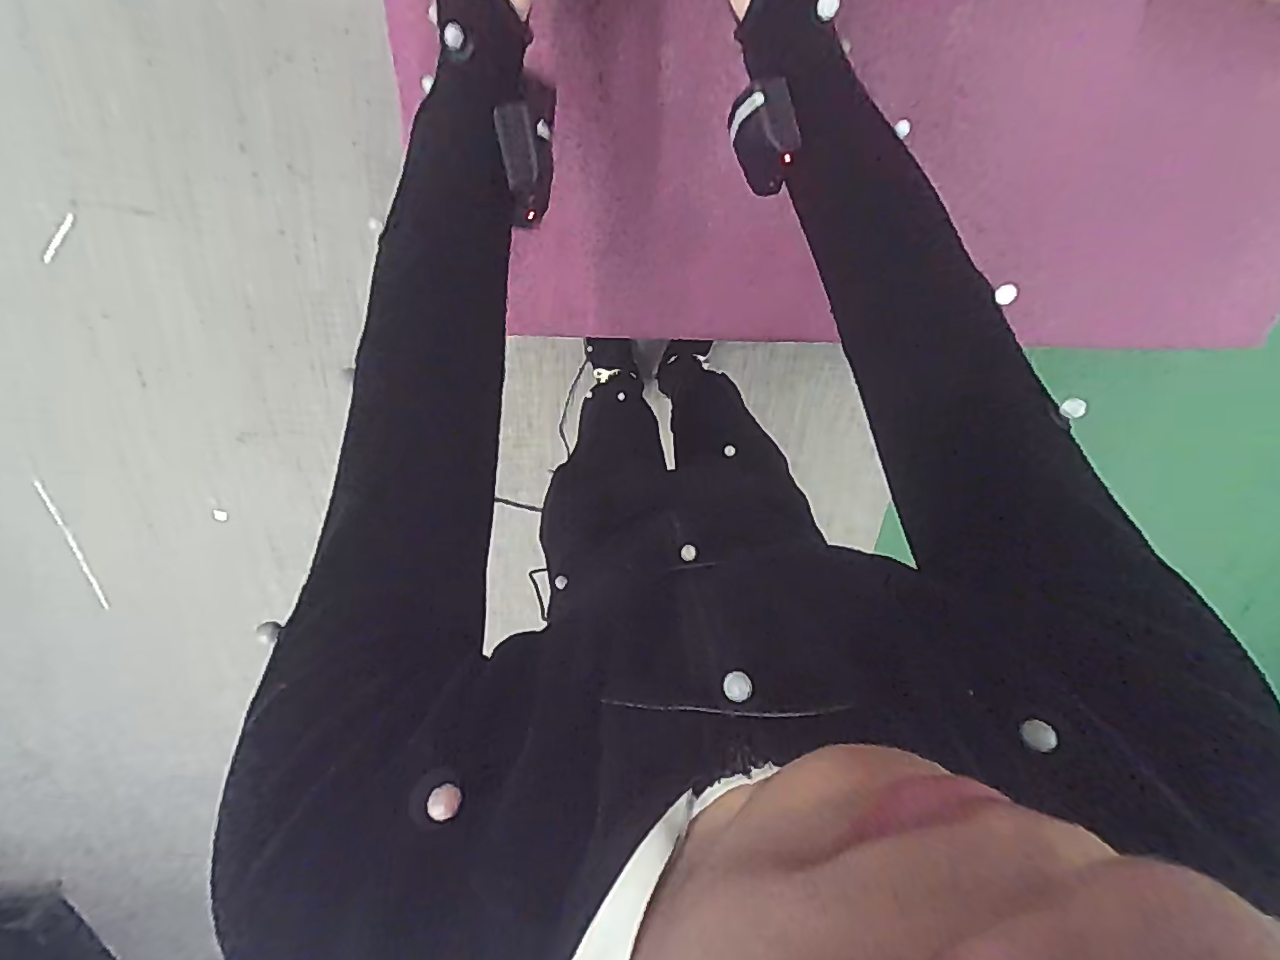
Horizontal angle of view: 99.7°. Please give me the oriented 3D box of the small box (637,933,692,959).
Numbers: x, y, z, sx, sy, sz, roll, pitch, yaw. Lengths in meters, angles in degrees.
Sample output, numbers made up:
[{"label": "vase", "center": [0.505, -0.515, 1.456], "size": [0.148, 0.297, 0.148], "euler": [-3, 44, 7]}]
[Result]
[{"label": "small box", "center": [0.085, 1.625, 1.767], "size": [0.168, 0.176, 0.179], "euler": [2, 117, -8]}]
